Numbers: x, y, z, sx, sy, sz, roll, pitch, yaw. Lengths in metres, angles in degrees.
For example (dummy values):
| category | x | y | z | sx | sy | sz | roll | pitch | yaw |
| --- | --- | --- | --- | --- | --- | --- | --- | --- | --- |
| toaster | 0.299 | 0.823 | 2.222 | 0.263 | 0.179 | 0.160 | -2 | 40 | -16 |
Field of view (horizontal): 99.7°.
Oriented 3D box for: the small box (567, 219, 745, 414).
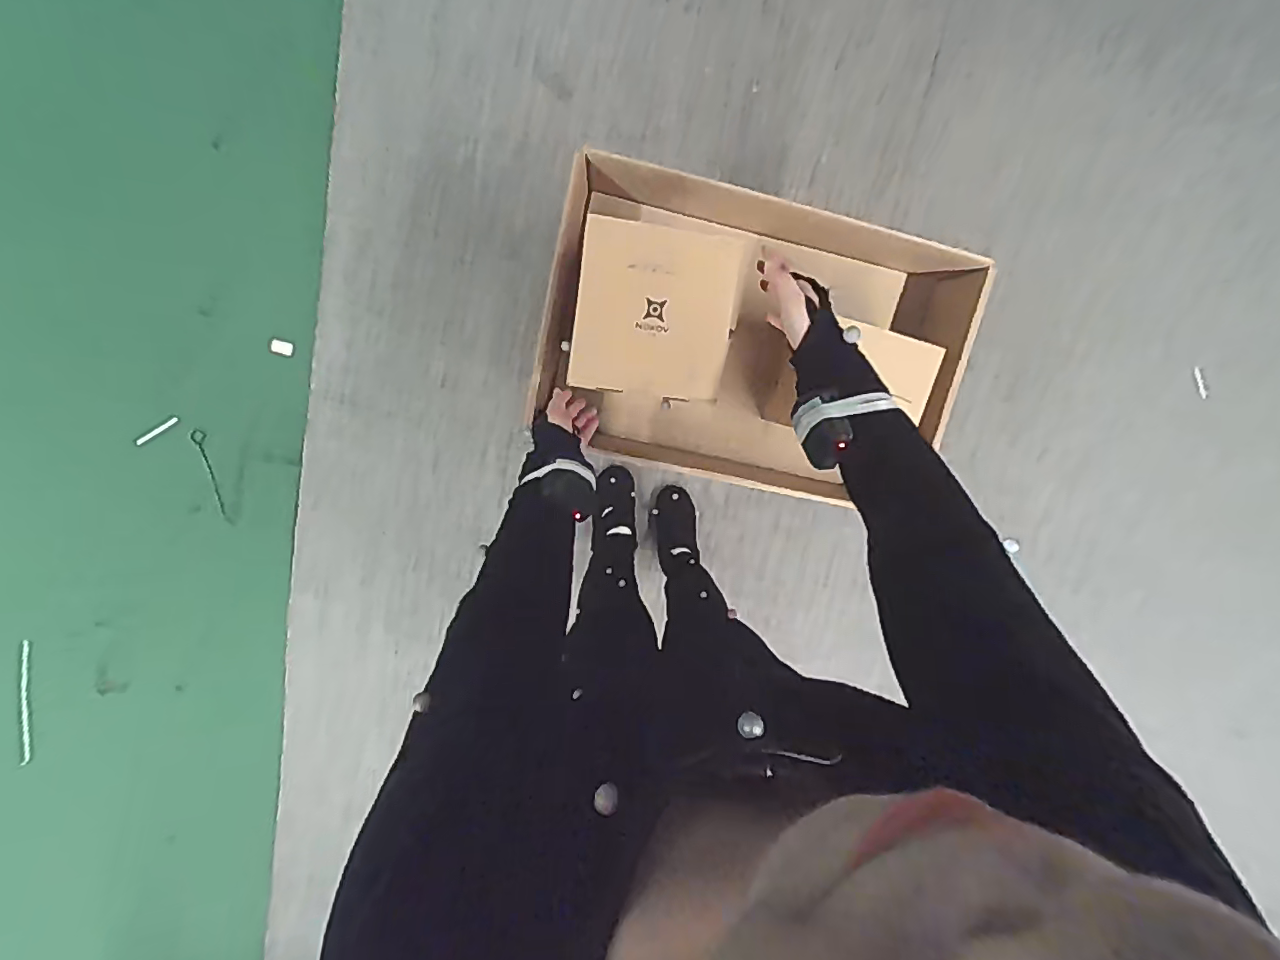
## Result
| category | x | y | z | sx | sy | sz | roll | pitch | yaw |
| --- | --- | --- | --- | --- | --- | --- | --- | --- | --- |
| small box | 0.010 | -0.183 | 0.643 | 0.168 | 0.176 | 0.179 | 8 | 100 | -6 |
